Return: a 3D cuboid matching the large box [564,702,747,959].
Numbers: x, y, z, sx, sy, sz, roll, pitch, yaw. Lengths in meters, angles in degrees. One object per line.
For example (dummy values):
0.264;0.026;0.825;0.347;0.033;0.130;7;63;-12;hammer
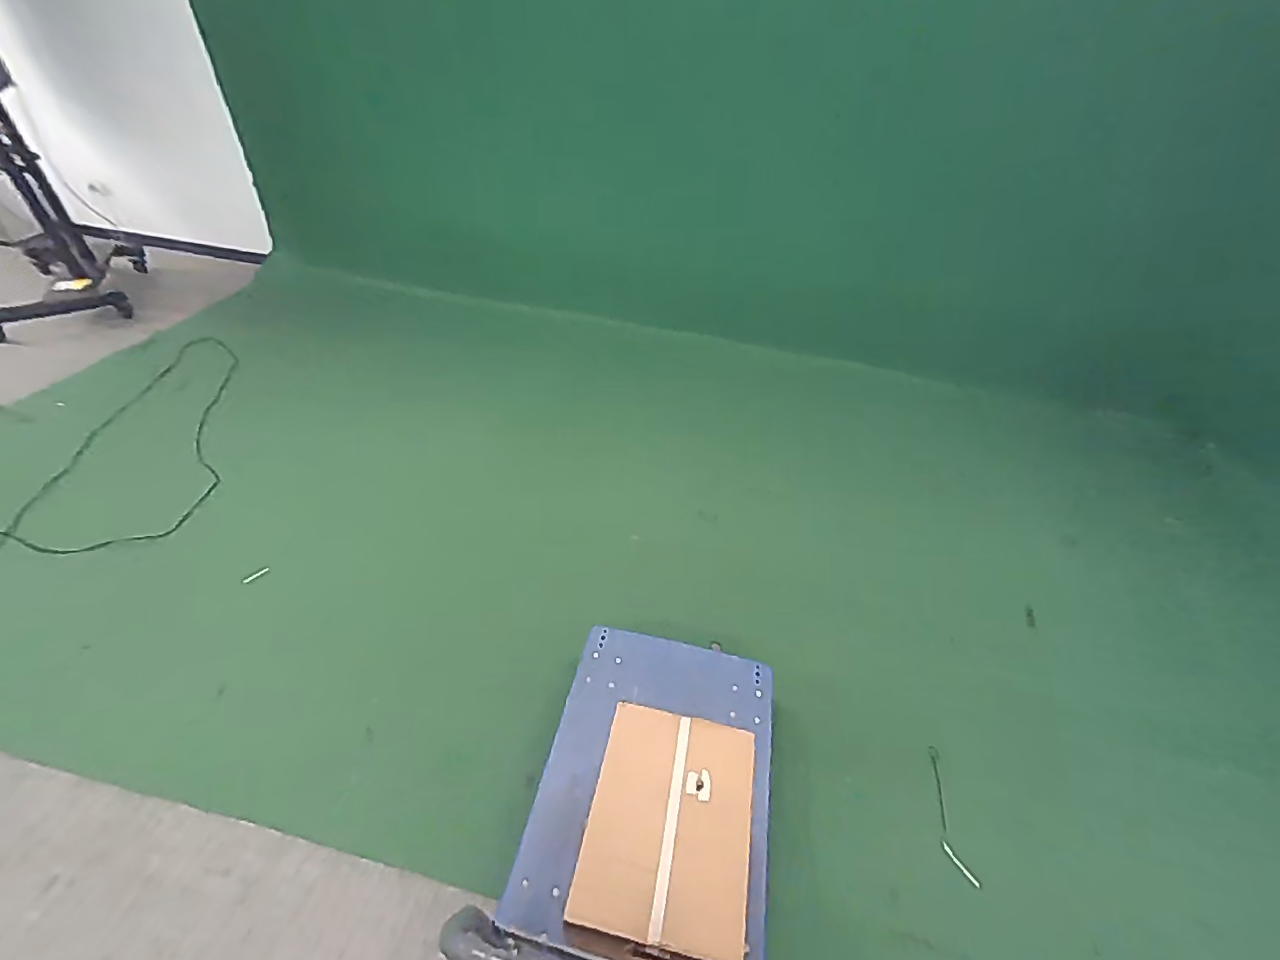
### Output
0.039;0.768;1.157;0.320;0.320;0.408;12;41;5;large box
